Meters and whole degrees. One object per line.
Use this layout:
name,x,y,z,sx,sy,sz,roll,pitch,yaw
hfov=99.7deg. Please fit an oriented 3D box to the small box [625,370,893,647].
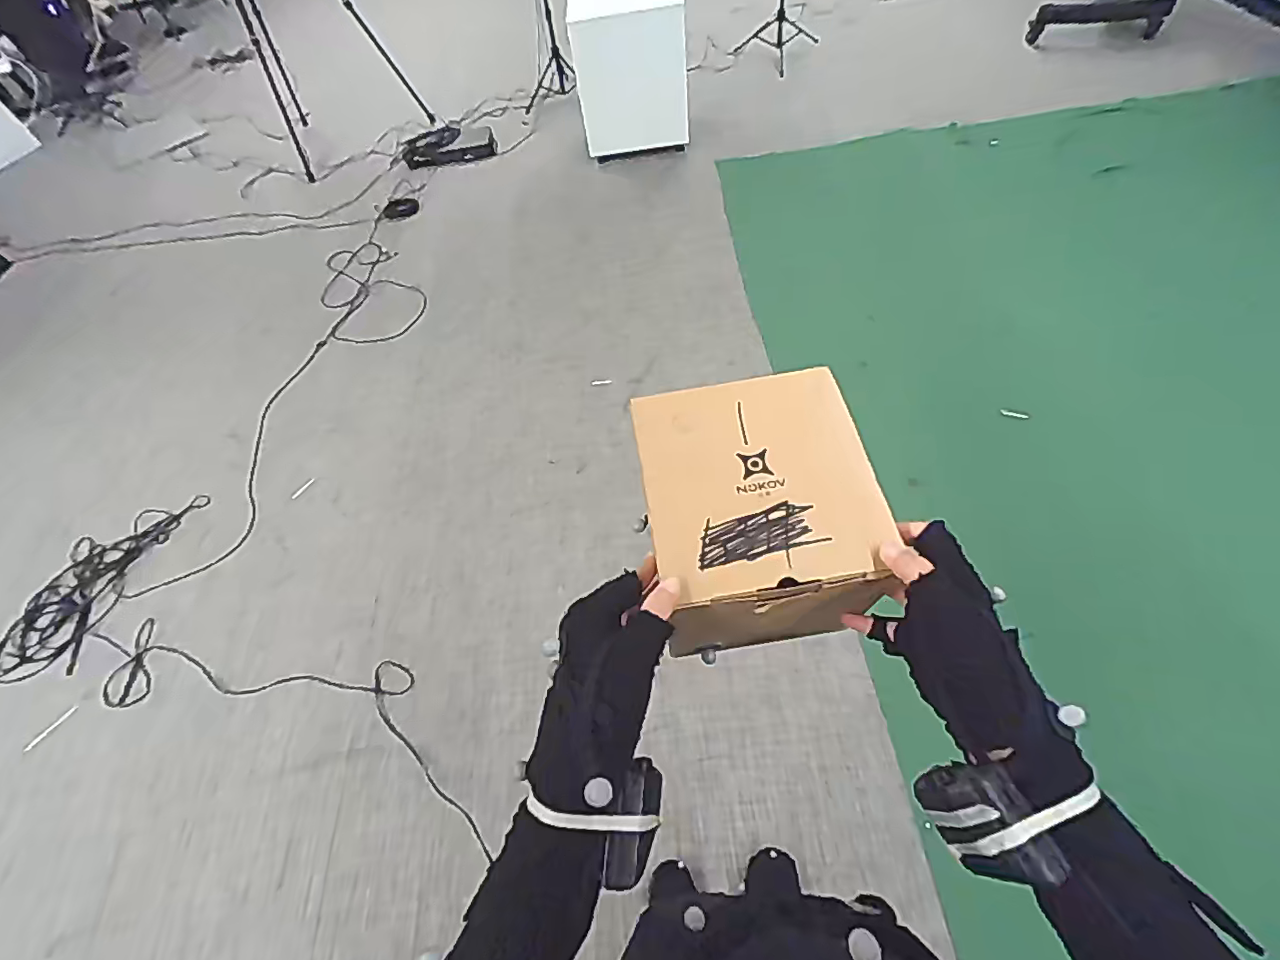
small box,0.084,0.036,0.463,0.168,0.176,0.179,-8,59,0
